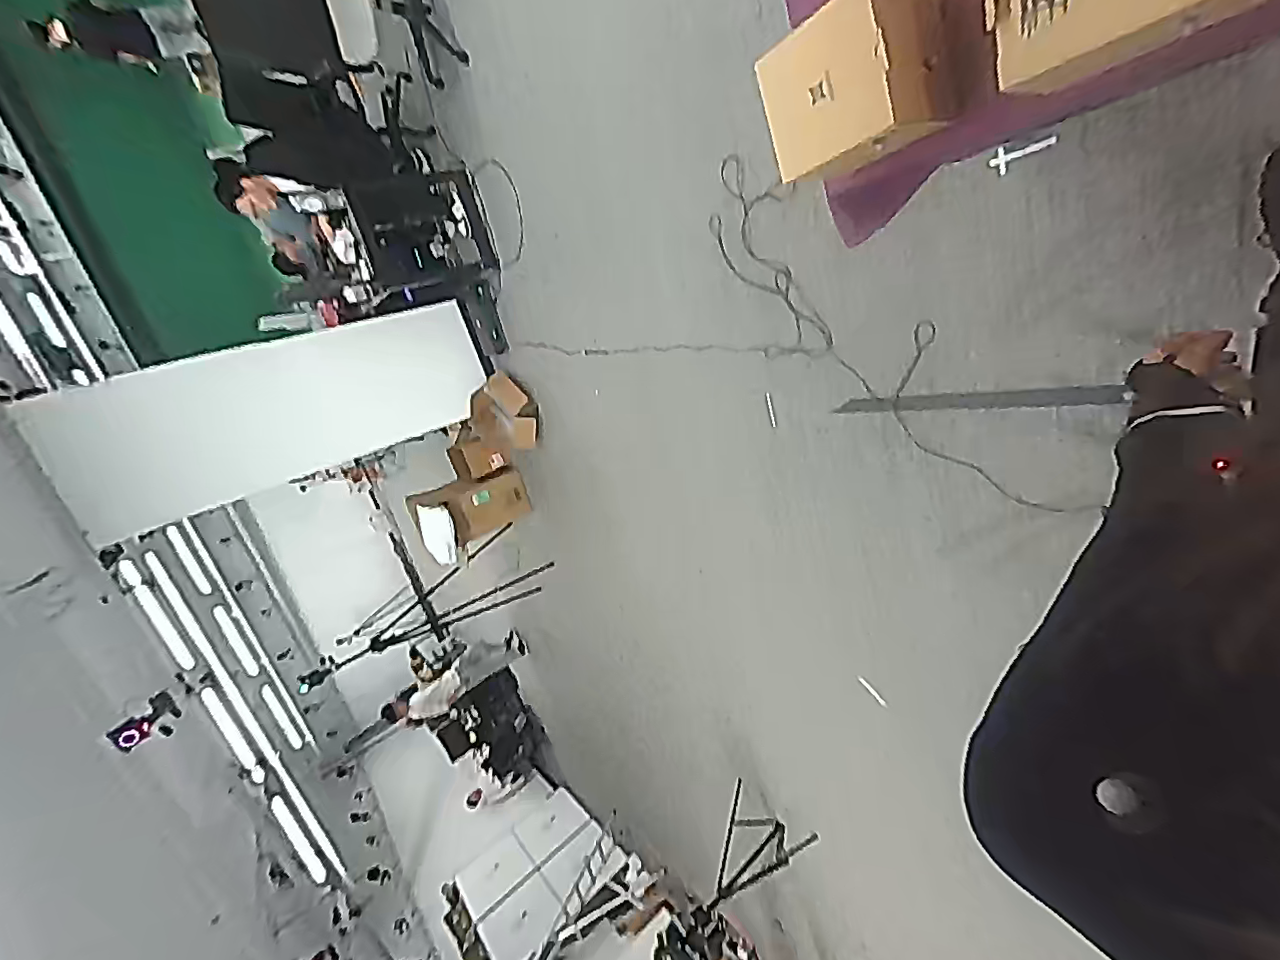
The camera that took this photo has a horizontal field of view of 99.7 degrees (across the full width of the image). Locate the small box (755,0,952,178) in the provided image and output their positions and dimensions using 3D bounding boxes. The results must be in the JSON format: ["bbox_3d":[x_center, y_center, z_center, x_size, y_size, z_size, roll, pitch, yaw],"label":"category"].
[{"bbox_3d":[0.295,-0.544,0.747,0.179,0.176,0.168,0,114,54],"label":"small box"}]
